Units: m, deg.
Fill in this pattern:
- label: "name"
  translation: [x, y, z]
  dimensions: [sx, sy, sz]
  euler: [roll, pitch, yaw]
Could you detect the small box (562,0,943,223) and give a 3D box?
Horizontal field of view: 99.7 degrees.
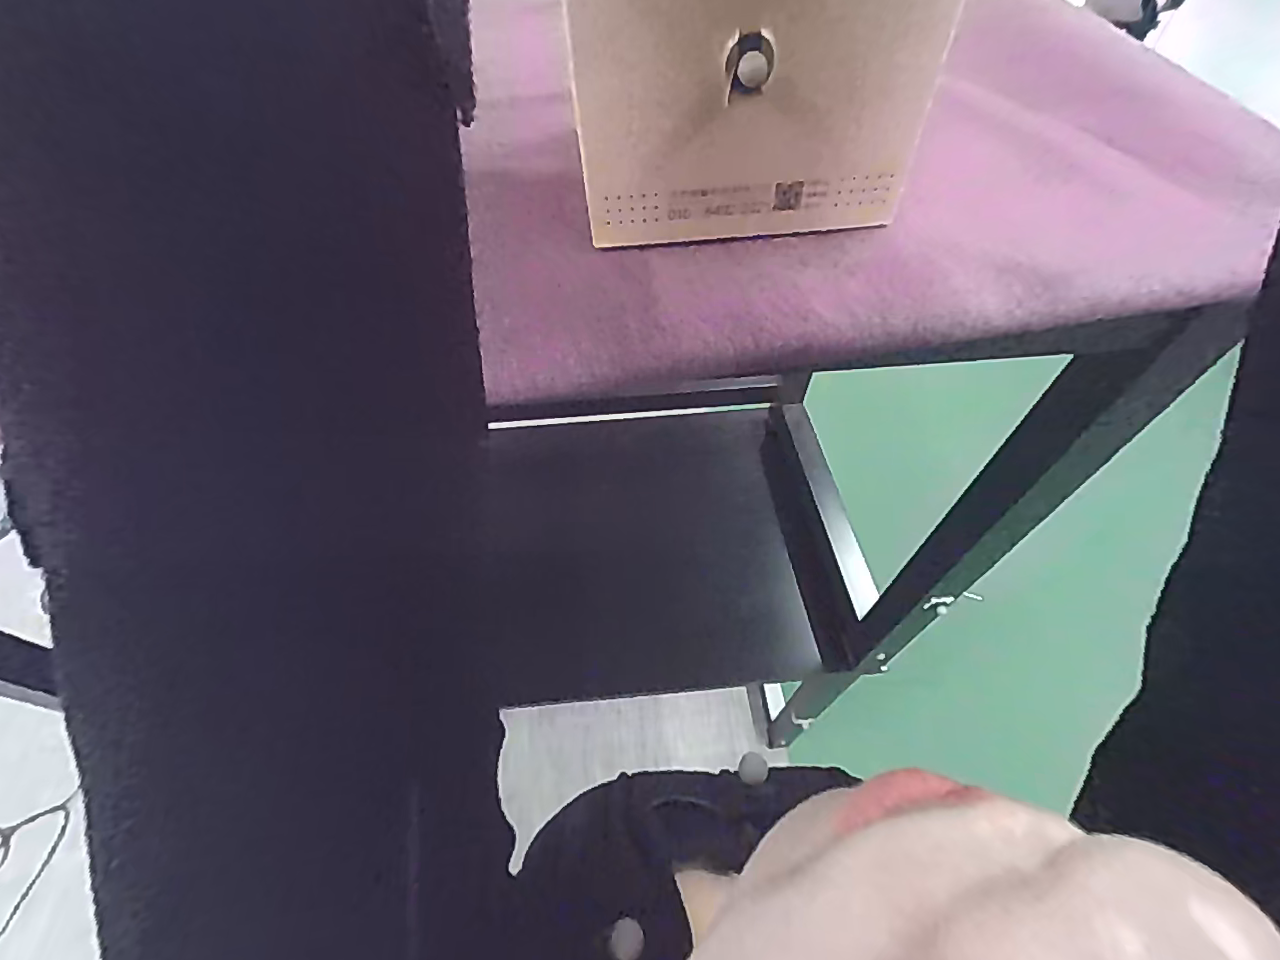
- label: "small box"
  translation: [0.047, -0.252, 0.283]
  dimensions: [0.168, 0.176, 0.179]
  euler: [-3, 52, 0]
